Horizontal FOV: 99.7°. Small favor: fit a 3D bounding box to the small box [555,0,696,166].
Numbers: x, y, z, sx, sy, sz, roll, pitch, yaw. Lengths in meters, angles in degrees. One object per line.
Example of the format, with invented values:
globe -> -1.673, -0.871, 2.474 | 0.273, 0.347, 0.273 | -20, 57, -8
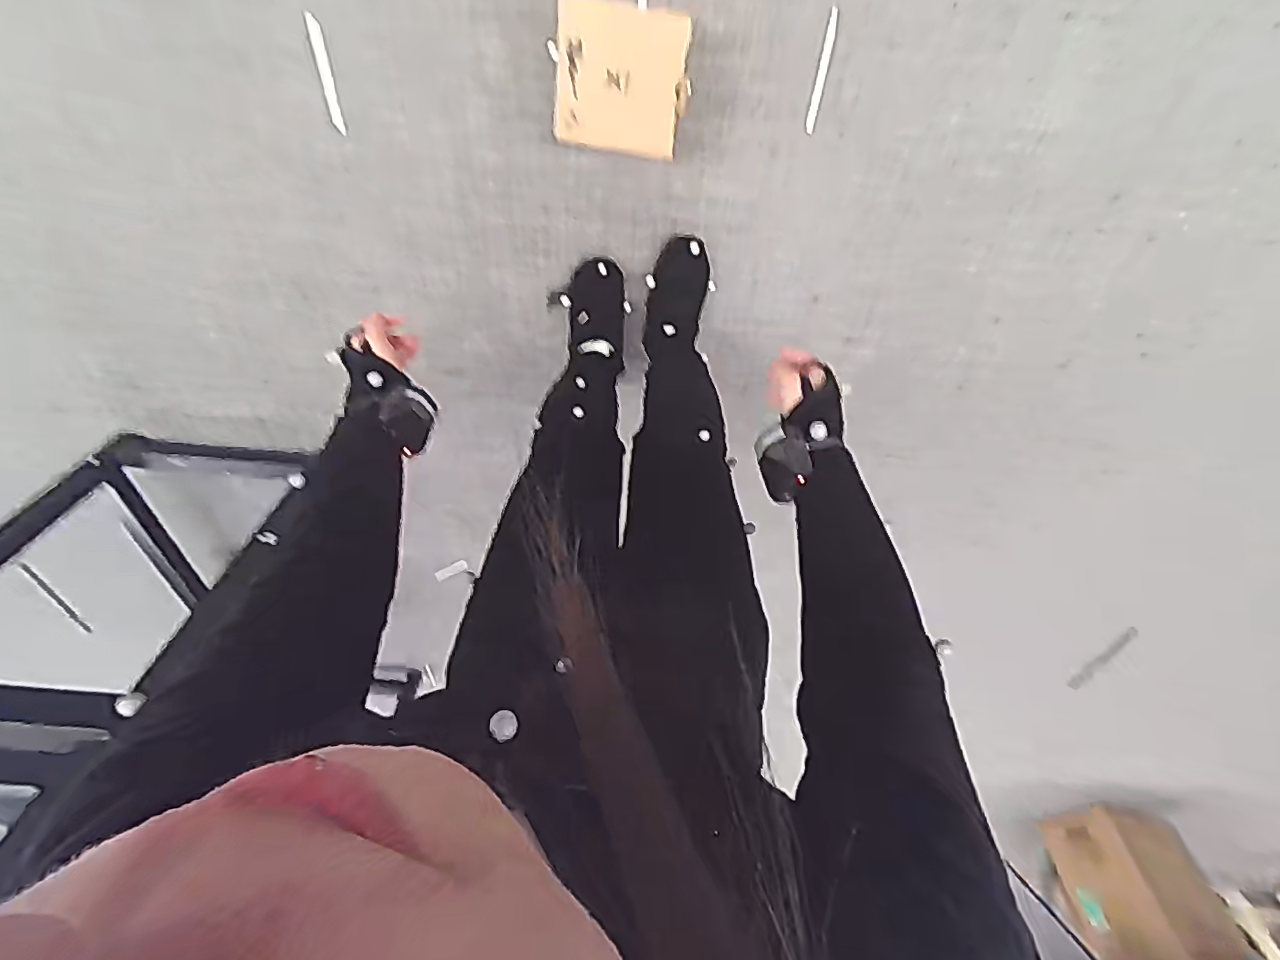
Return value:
small box -> -0.025, -0.593, 0.805 | 0.179, 0.176, 0.168 | 8, 131, -5
